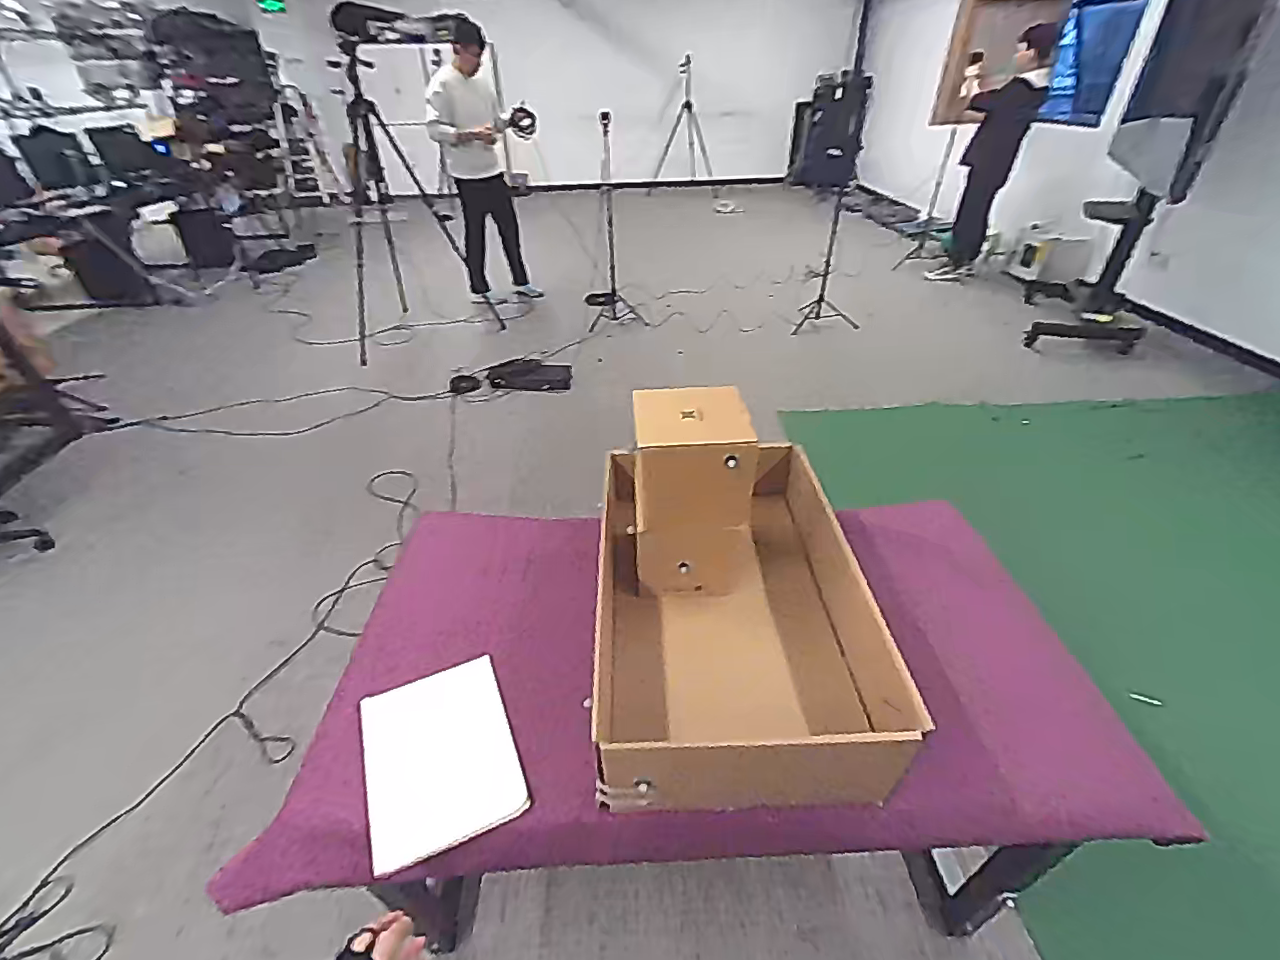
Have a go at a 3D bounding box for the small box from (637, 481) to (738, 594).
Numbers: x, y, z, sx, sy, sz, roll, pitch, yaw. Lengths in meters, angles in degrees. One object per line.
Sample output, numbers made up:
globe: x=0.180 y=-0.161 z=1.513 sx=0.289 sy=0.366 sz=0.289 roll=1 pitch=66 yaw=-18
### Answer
small box: x=0.080 y=0.093 z=0.978 sx=0.168 sy=0.176 sz=0.179 roll=-1 pitch=38 yaw=0

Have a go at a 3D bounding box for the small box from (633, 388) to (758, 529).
small box: x=0.082 y=-0.033 z=0.876 sx=0.179 sy=0.176 sz=0.168 roll=-3 pitch=38 yaw=-2
